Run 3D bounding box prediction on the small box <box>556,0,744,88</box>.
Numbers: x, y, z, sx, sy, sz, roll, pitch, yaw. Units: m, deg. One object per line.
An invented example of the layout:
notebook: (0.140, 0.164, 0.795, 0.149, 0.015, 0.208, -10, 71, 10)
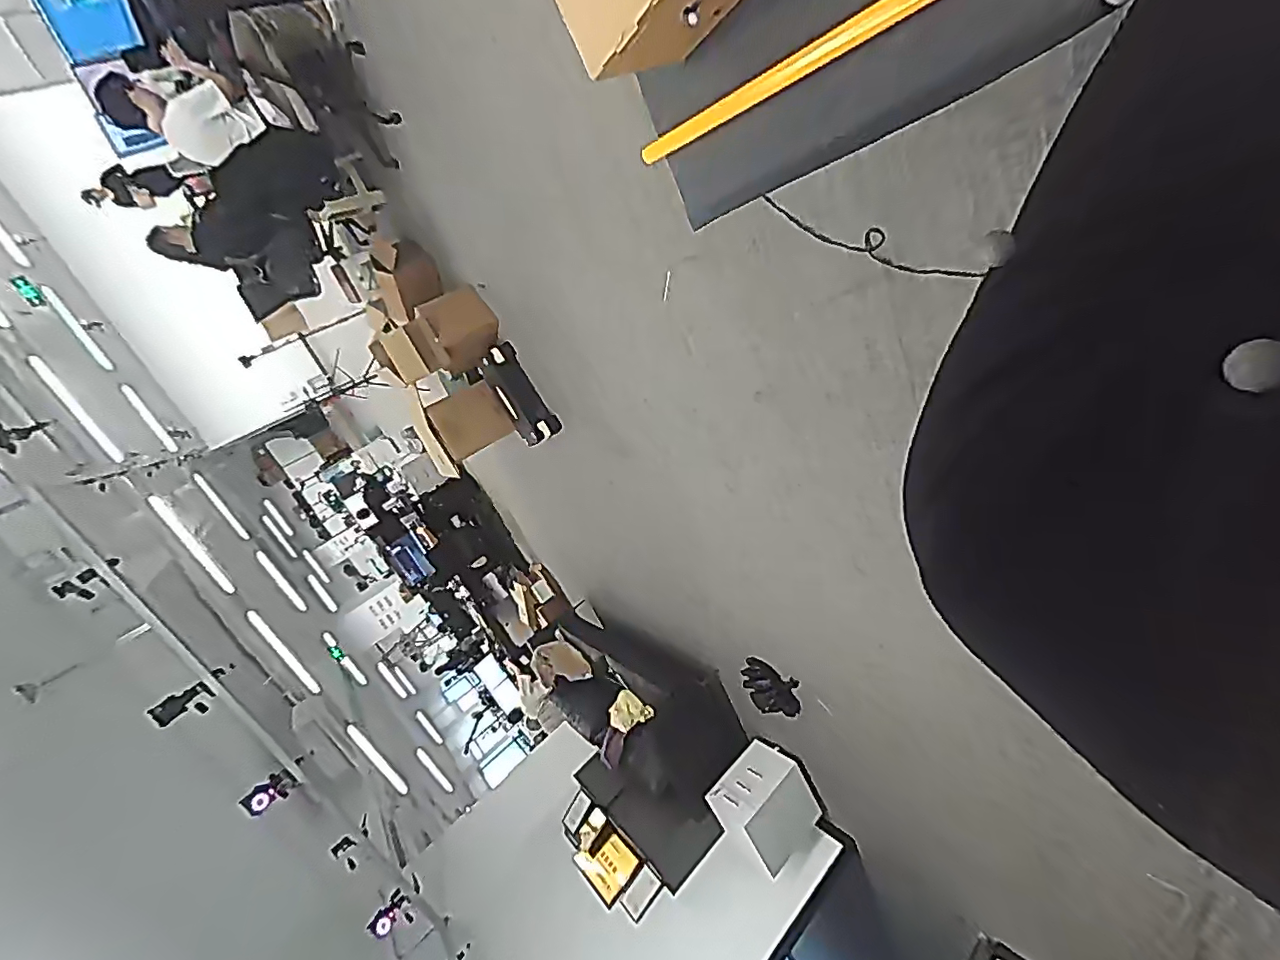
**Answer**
small box: (0.009, -0.615, 0.639, 0.168, 0.176, 0.179, -1, 119, 57)
